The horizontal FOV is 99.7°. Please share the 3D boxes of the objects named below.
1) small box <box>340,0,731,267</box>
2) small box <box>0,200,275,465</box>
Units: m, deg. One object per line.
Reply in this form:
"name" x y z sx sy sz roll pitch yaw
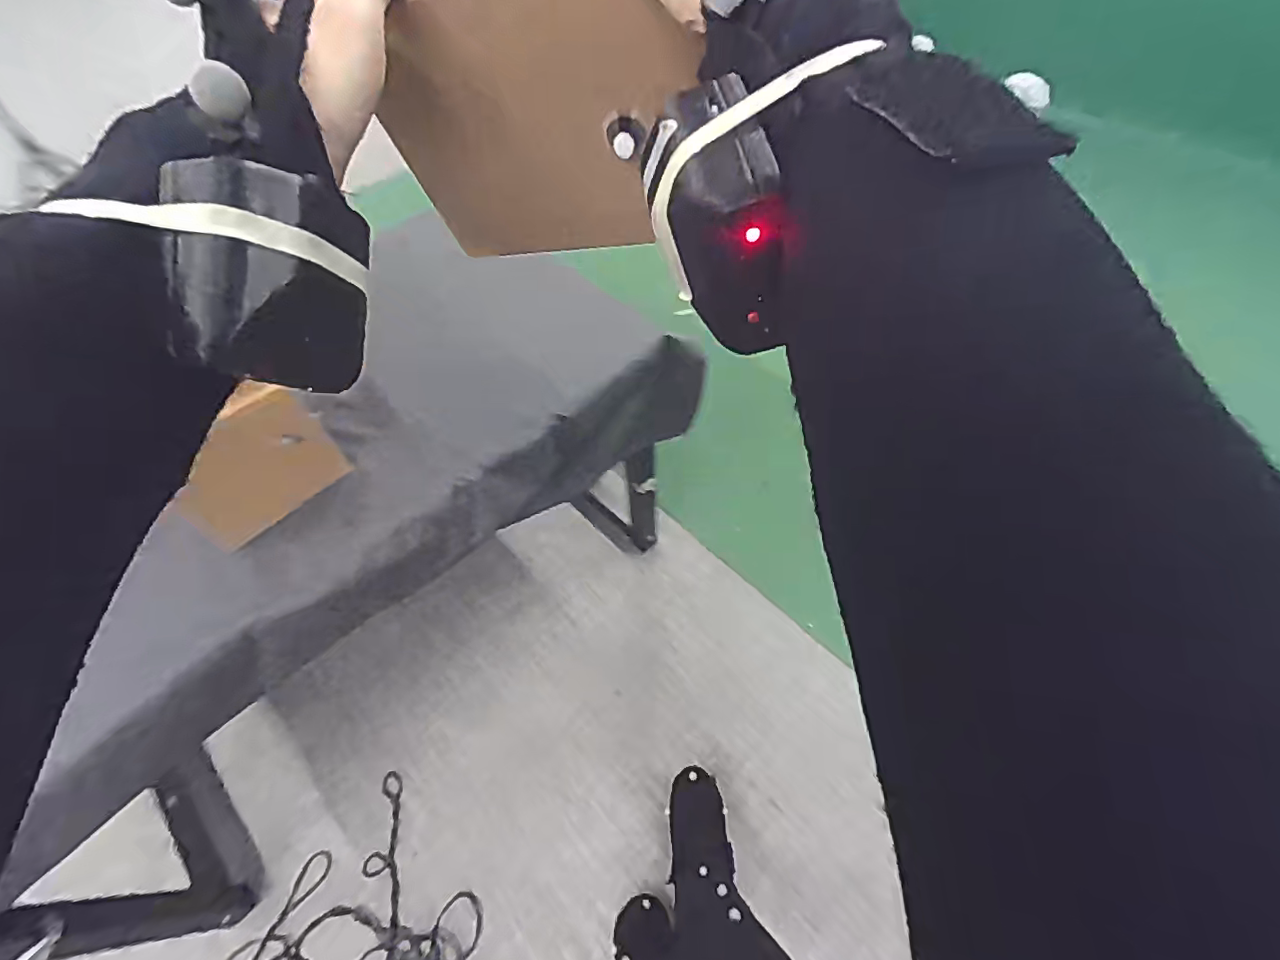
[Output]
"small box" -0.039 -0.256 0.330 0.179 0.176 0.168 -3 71 8
"small box" -0.533 -0.148 0.557 0.168 0.176 0.179 38 63 25
